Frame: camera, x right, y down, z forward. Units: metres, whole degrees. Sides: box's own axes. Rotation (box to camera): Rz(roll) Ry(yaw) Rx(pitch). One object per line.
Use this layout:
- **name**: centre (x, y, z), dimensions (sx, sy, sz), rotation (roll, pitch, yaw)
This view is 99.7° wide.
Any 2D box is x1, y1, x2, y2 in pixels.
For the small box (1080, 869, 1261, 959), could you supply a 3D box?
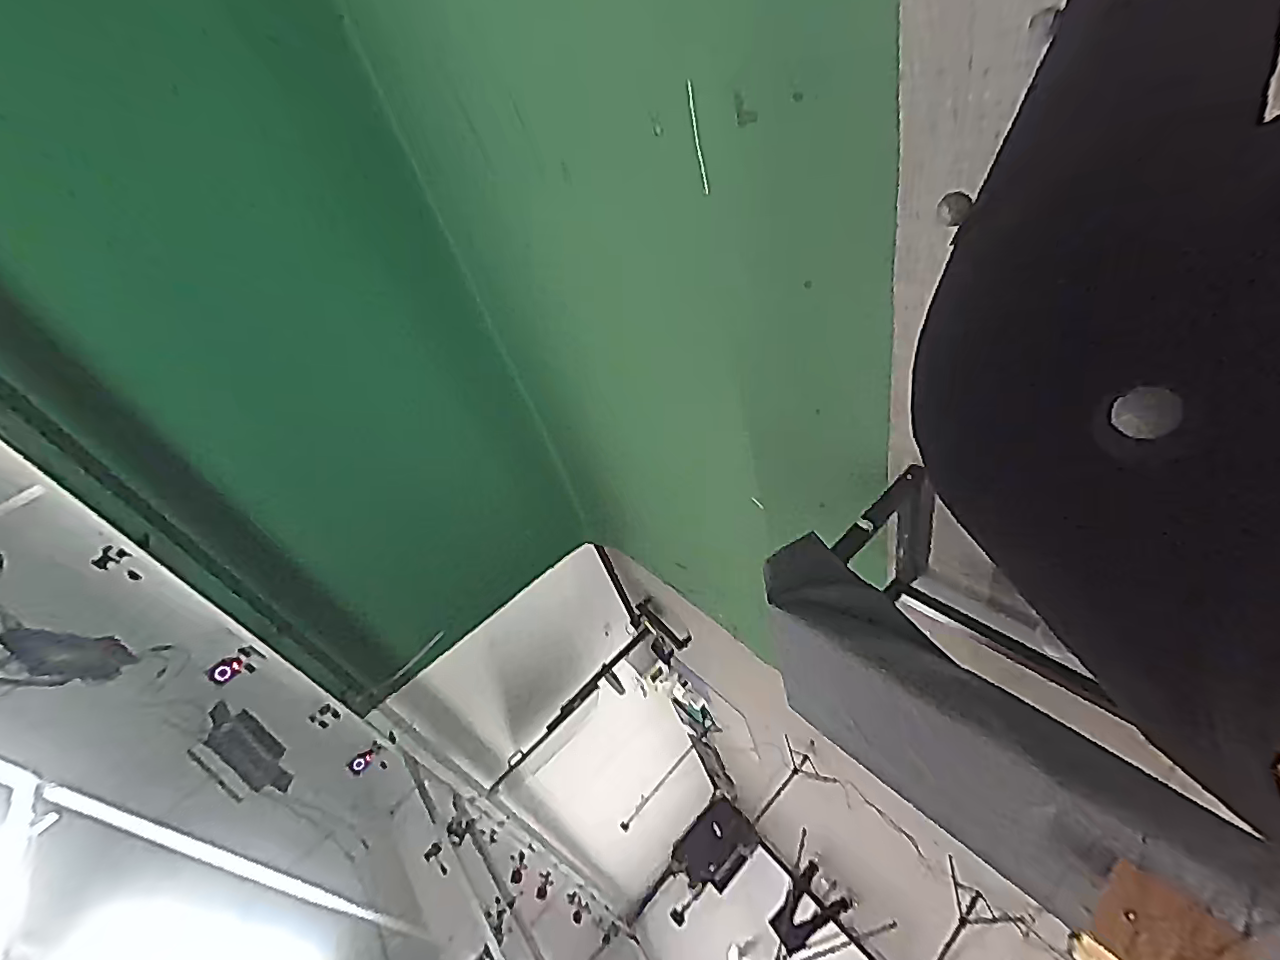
- **small box**: centre (0.934, 0.840, 0.962), dimensions (0.179, 0.176, 0.168), rotation (25, 148, 48)
